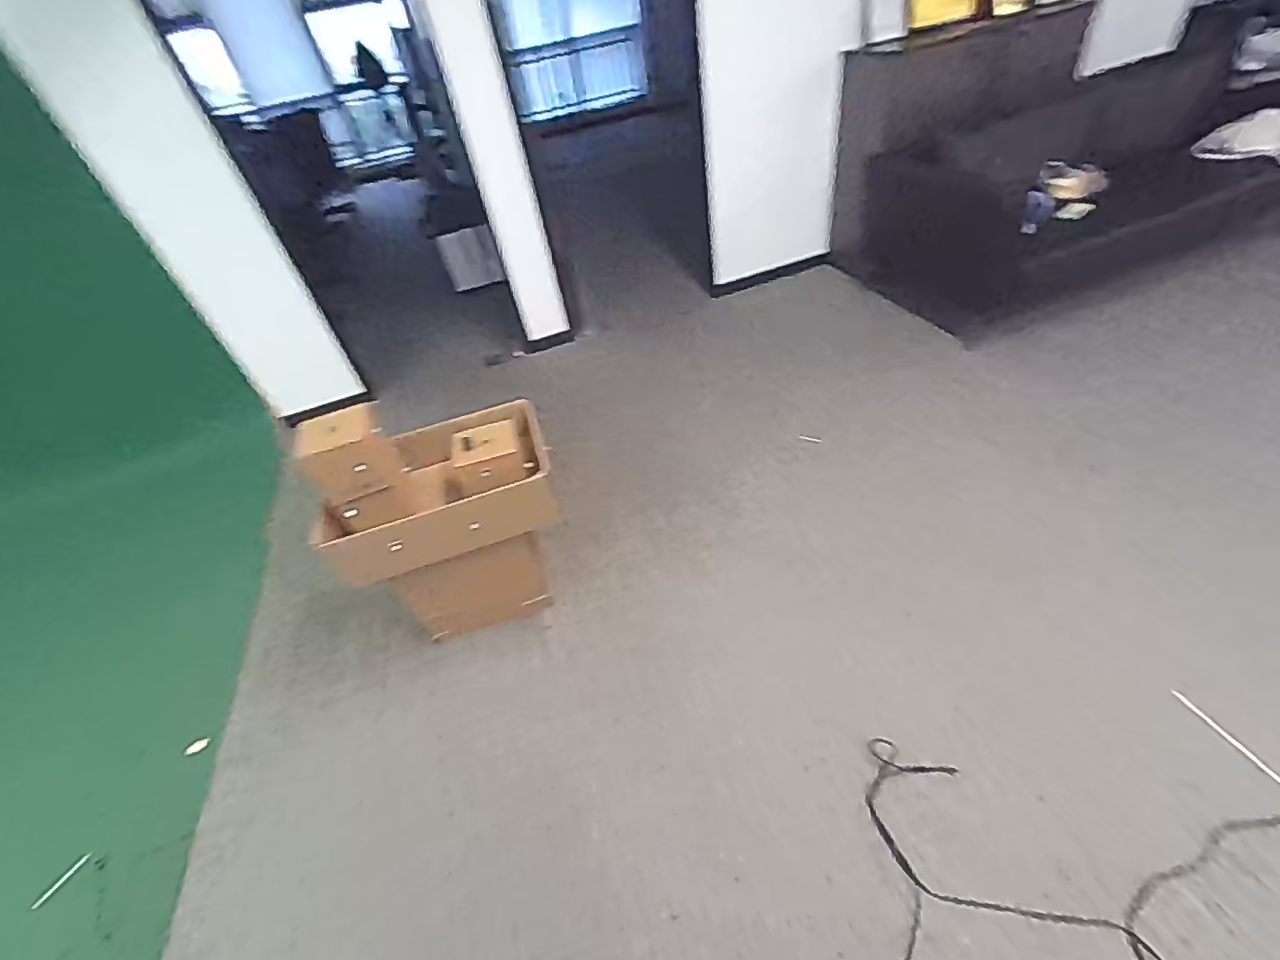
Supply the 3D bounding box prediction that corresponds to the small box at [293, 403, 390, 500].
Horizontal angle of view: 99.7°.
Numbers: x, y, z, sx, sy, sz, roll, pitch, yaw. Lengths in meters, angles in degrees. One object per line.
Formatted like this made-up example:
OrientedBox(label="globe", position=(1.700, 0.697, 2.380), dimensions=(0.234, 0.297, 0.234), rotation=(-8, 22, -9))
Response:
OrientedBox(label="small box", position=(-0.770, -0.068, 1.412), dimensions=(0.168, 0.176, 0.179), rotation=(-21, 42, -11))
